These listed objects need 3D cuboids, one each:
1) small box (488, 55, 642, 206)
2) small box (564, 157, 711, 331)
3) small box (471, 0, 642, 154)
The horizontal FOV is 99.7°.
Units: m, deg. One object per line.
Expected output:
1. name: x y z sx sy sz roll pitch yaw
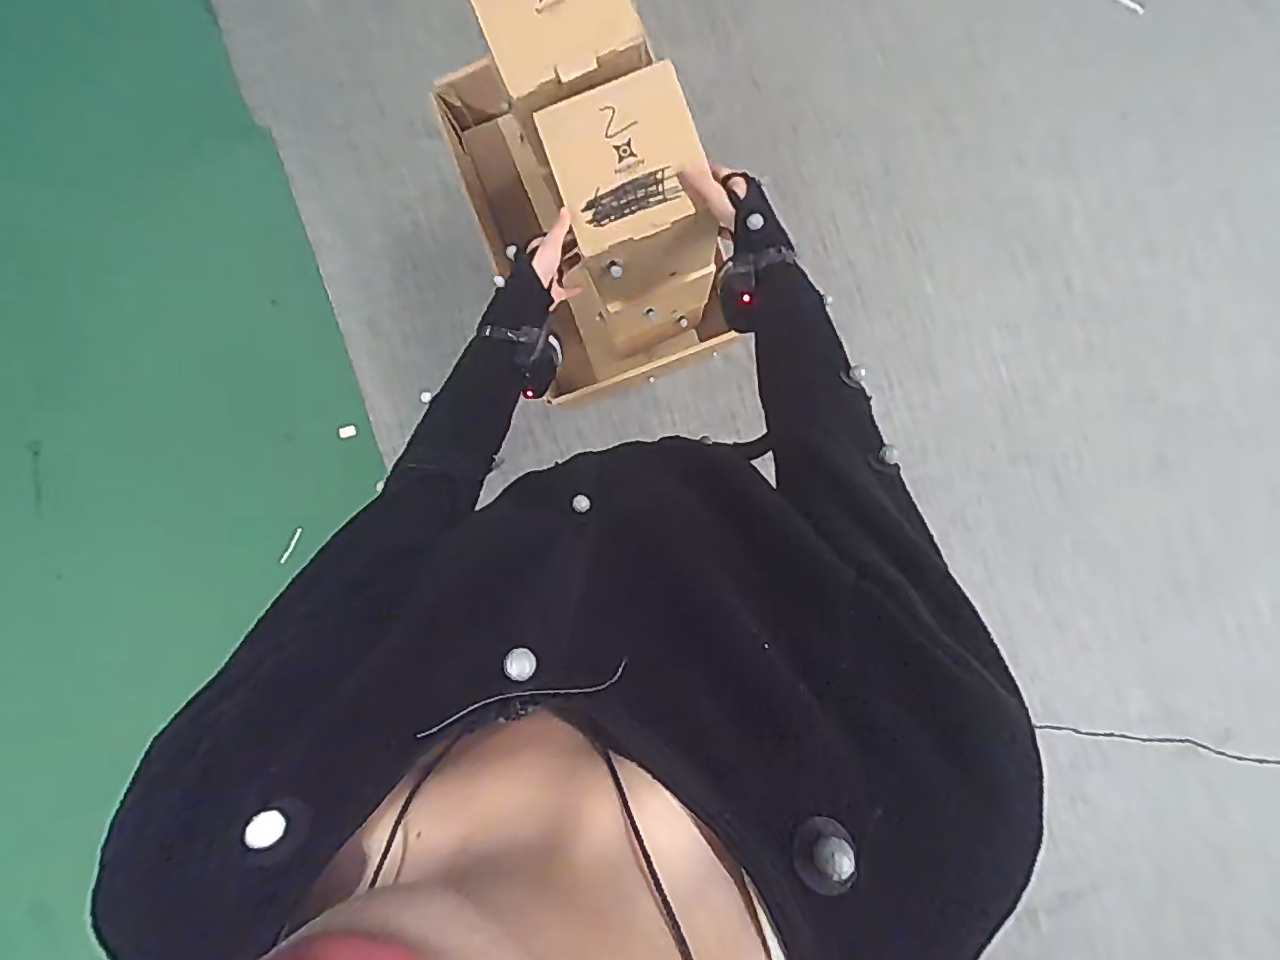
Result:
1. small box: -0.103 -0.558 0.840 0.168 0.176 0.179 -25 93 3
2. small box: 0.001 -0.348 0.843 0.168 0.176 0.179 -21 90 3
3. small box: -0.101 -0.546 0.677 0.168 0.176 0.179 -22 94 2
